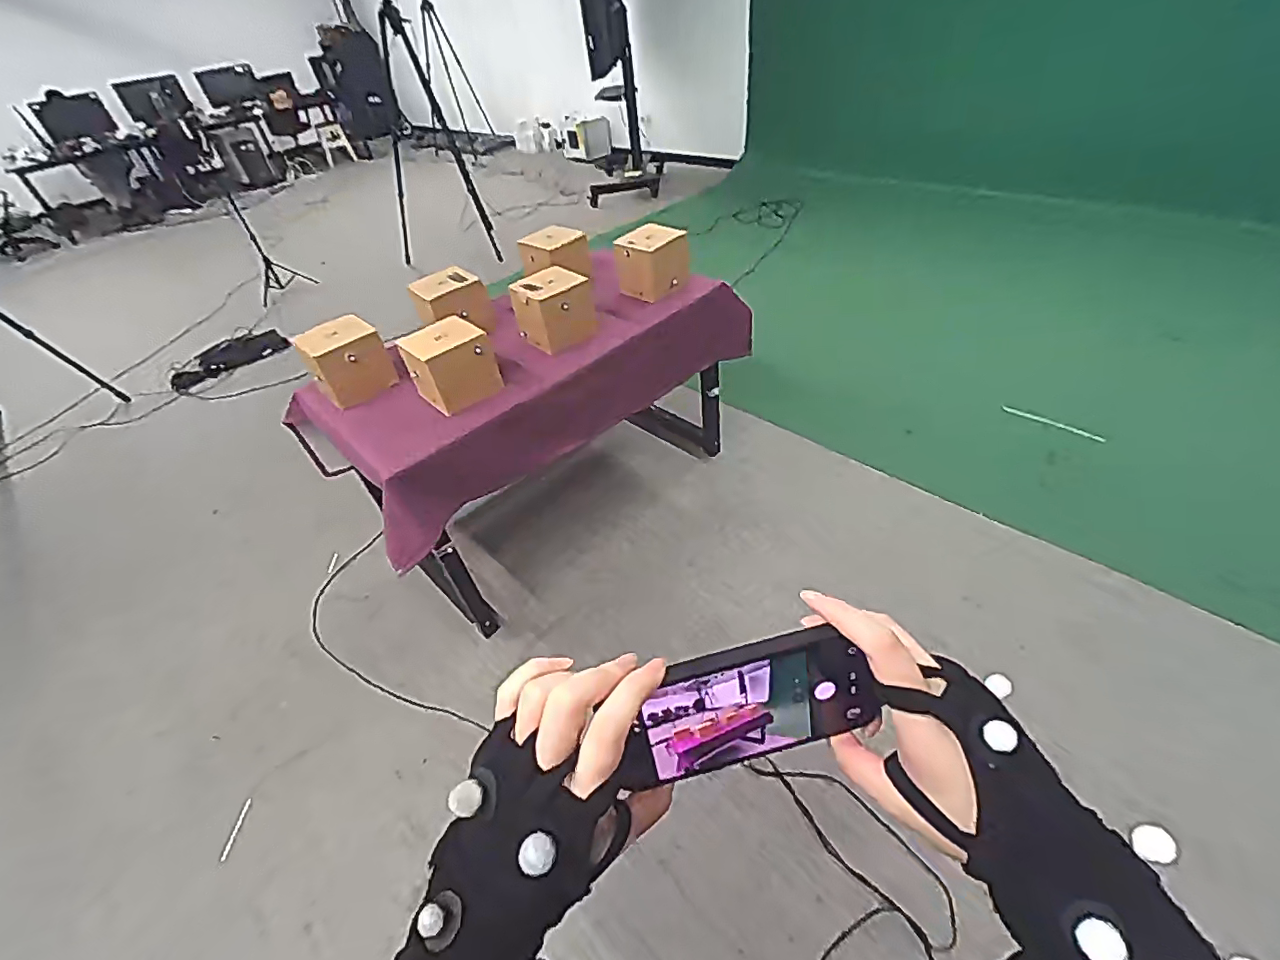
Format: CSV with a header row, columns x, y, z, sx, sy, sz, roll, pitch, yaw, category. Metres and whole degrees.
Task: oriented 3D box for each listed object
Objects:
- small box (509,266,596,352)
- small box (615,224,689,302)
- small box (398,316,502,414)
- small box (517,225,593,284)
x,y,z,sx,sy,sz,roll,pitch,yaw,category
-0.248,-0.496,1.574,0.179,0.176,0.168,-34,49,-26,small box
0.042,-0.699,1.738,0.168,0.176,0.179,30,56,35,small box
-0.487,-0.298,1.406,0.179,0.176,0.168,-36,49,-27,small box
-0.285,-0.744,1.839,0.179,0.176,0.168,29,56,33,small box
